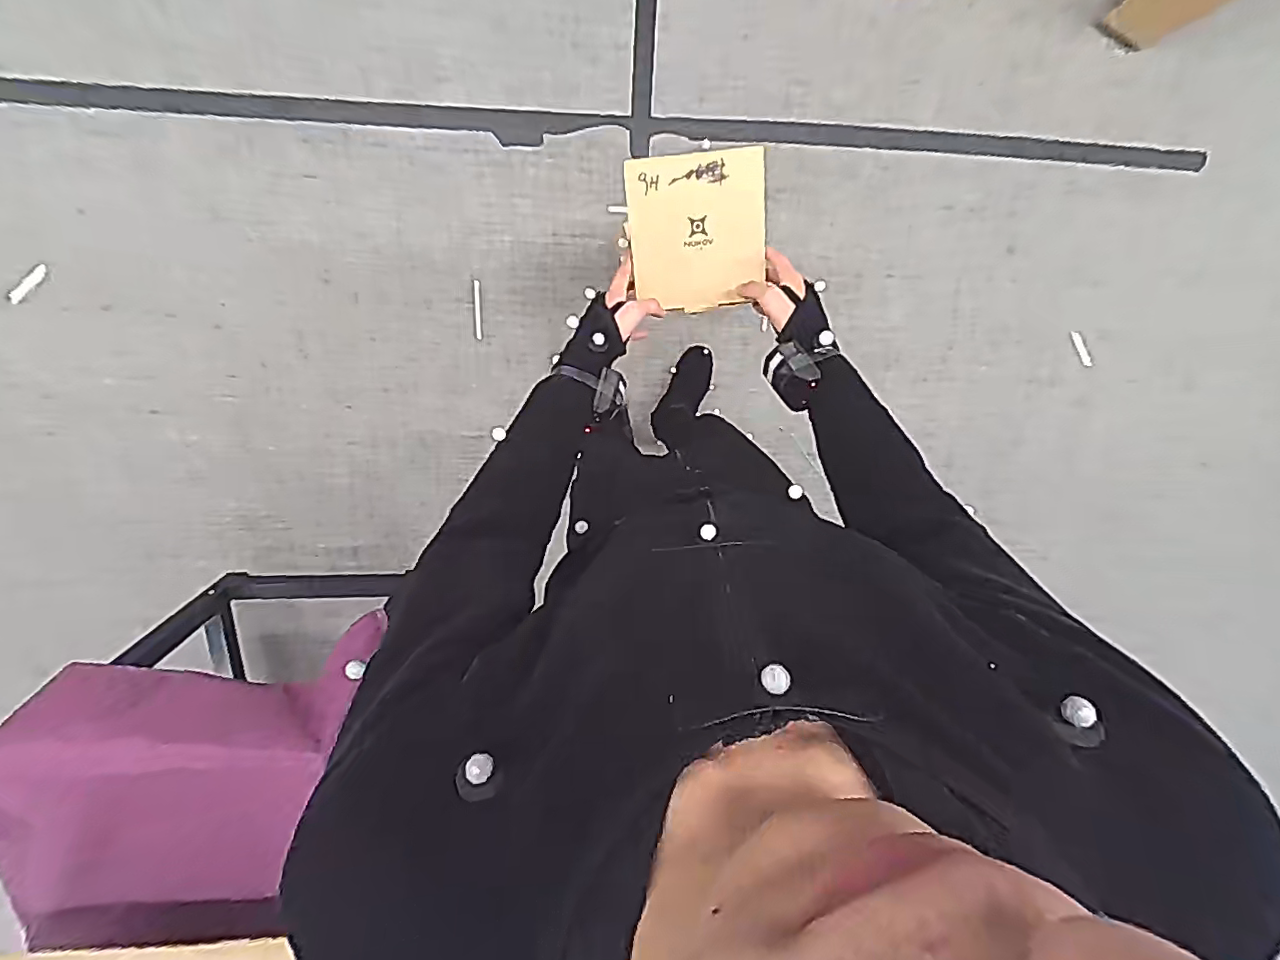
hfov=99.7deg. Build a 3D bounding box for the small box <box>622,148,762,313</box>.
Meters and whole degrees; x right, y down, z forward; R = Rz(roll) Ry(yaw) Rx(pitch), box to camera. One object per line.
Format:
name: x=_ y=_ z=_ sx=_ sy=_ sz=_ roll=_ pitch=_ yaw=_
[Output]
small box: x=0.066 y=-0.331 z=0.733 sx=0.168 sy=0.176 sz=0.179 roll=-4 pitch=112 yaw=1
